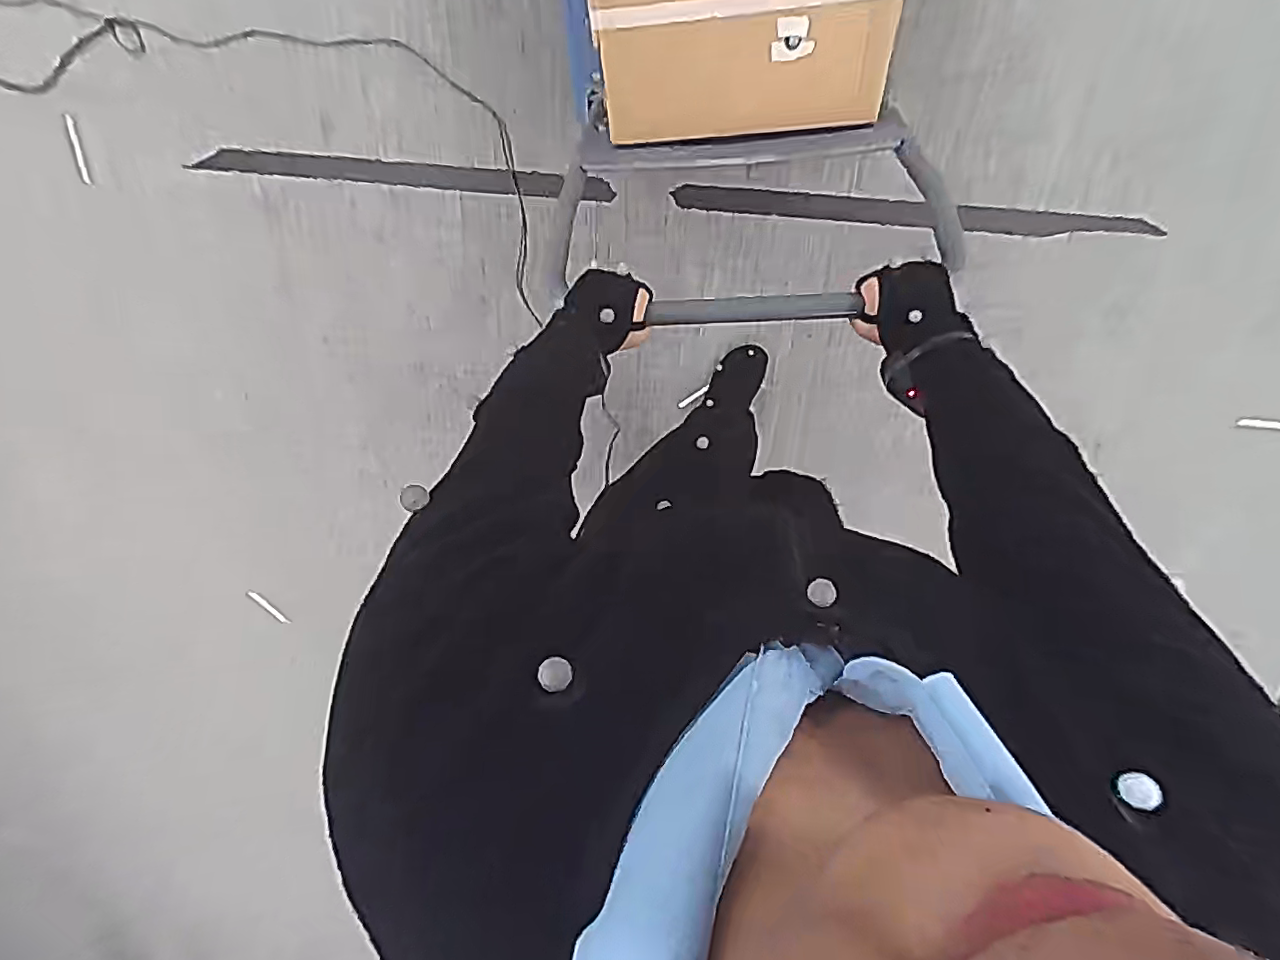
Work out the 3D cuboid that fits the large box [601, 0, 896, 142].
[{"bbox_3d":[0.151,-0.761,0.833,0.408,0.320,0.320,-2,137,7],"label":"large box"}]
